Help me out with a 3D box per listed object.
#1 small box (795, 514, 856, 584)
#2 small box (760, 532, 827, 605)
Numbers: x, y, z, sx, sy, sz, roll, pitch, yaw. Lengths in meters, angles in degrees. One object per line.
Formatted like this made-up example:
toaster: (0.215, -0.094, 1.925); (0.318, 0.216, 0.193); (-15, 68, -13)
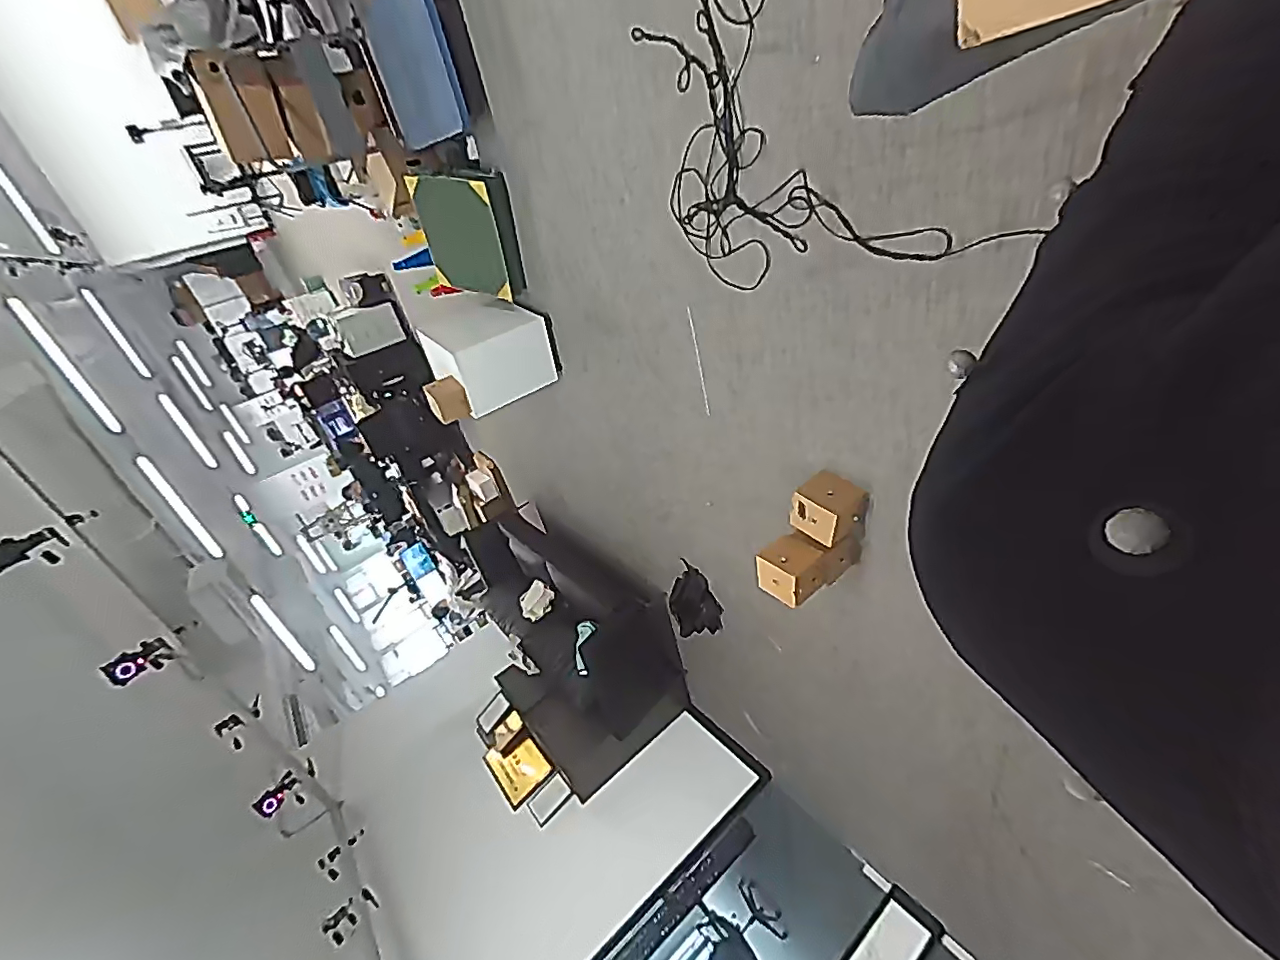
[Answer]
small box: (0.699, 0.253, 2.053); (0.179, 0.176, 0.168); (28, 142, 44)
small box: (0.564, 0.317, 1.986); (0.179, 0.176, 0.168); (29, 141, 45)
